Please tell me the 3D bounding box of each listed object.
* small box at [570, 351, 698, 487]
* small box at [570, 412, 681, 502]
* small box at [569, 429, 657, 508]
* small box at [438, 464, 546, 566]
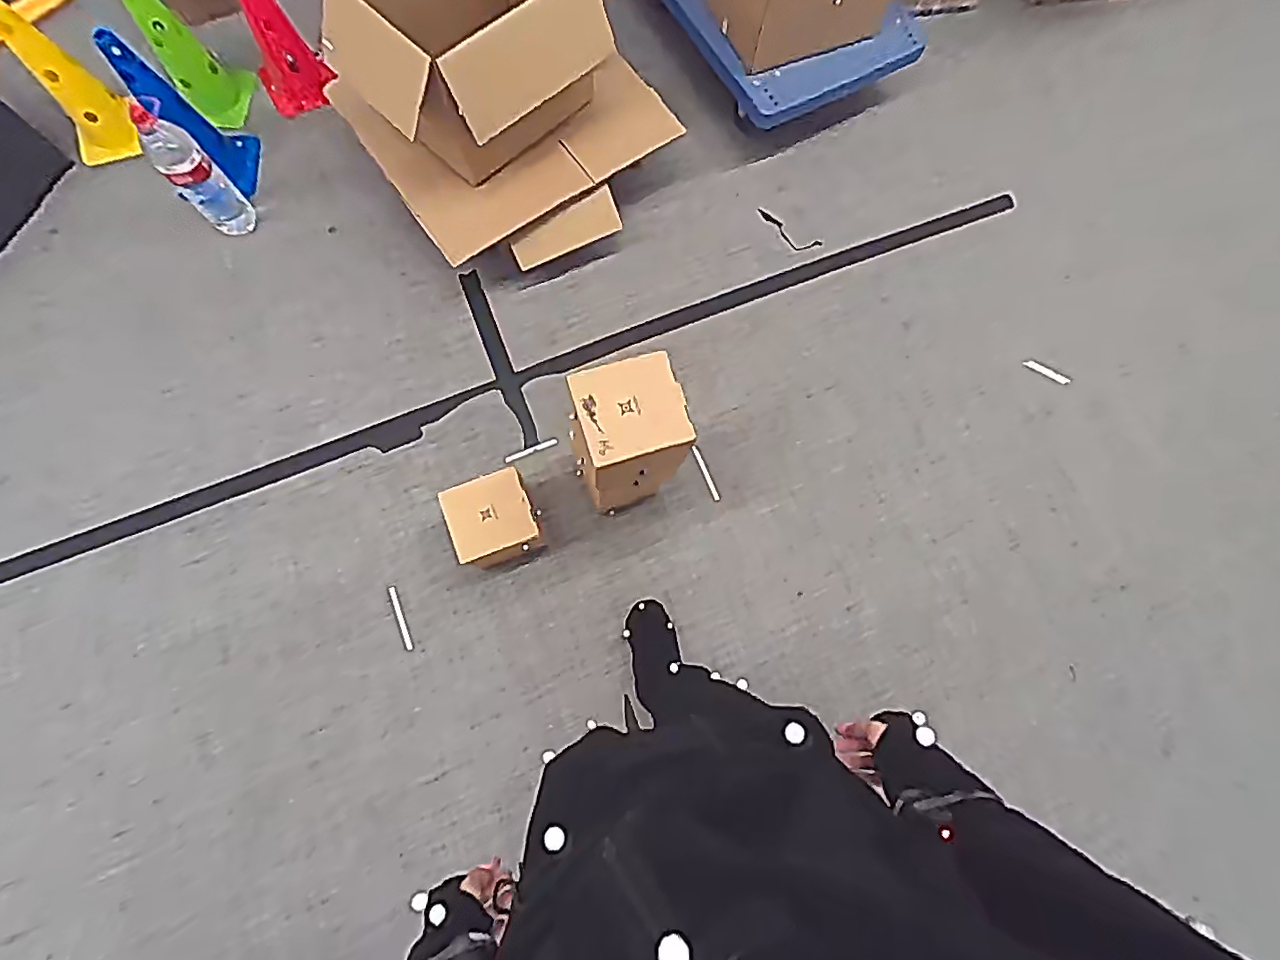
[{"bbox_3d":[-0.019,-0.100,0.949,0.179,0.176,0.168,-16,79,-9],"label":"small box"},{"bbox_3d":[-0.033,-0.066,1.109,0.179,0.176,0.168,-19,80,-9],"label":"small box"},{"bbox_3d":[-0.056,-0.043,1.272,0.168,0.176,0.179,-22,79,-9],"label":"small box"},{"bbox_3d":[-0.327,0.087,1.222,0.179,0.176,0.168,-21,79,-9],"label":"small box"}]
